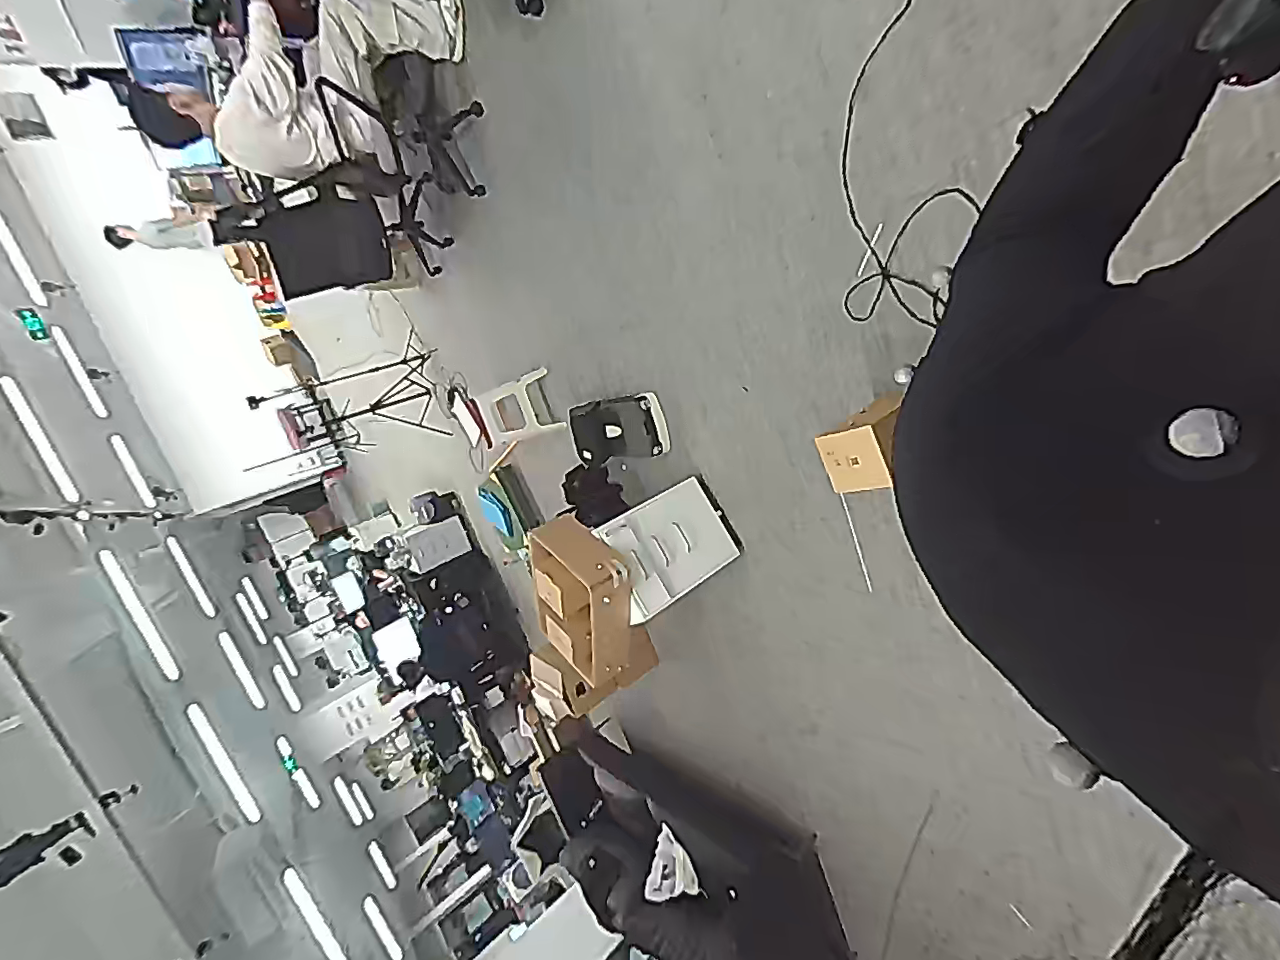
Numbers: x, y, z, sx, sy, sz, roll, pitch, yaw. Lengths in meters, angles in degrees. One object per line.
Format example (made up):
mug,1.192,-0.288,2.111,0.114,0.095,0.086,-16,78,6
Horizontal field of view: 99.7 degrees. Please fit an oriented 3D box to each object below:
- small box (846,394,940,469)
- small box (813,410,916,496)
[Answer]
small box,0.719,-0.129,1.527,0.179,0.176,0.168,-11,104,56
small box,0.599,-0.071,1.430,0.179,0.176,0.168,-13,102,57
